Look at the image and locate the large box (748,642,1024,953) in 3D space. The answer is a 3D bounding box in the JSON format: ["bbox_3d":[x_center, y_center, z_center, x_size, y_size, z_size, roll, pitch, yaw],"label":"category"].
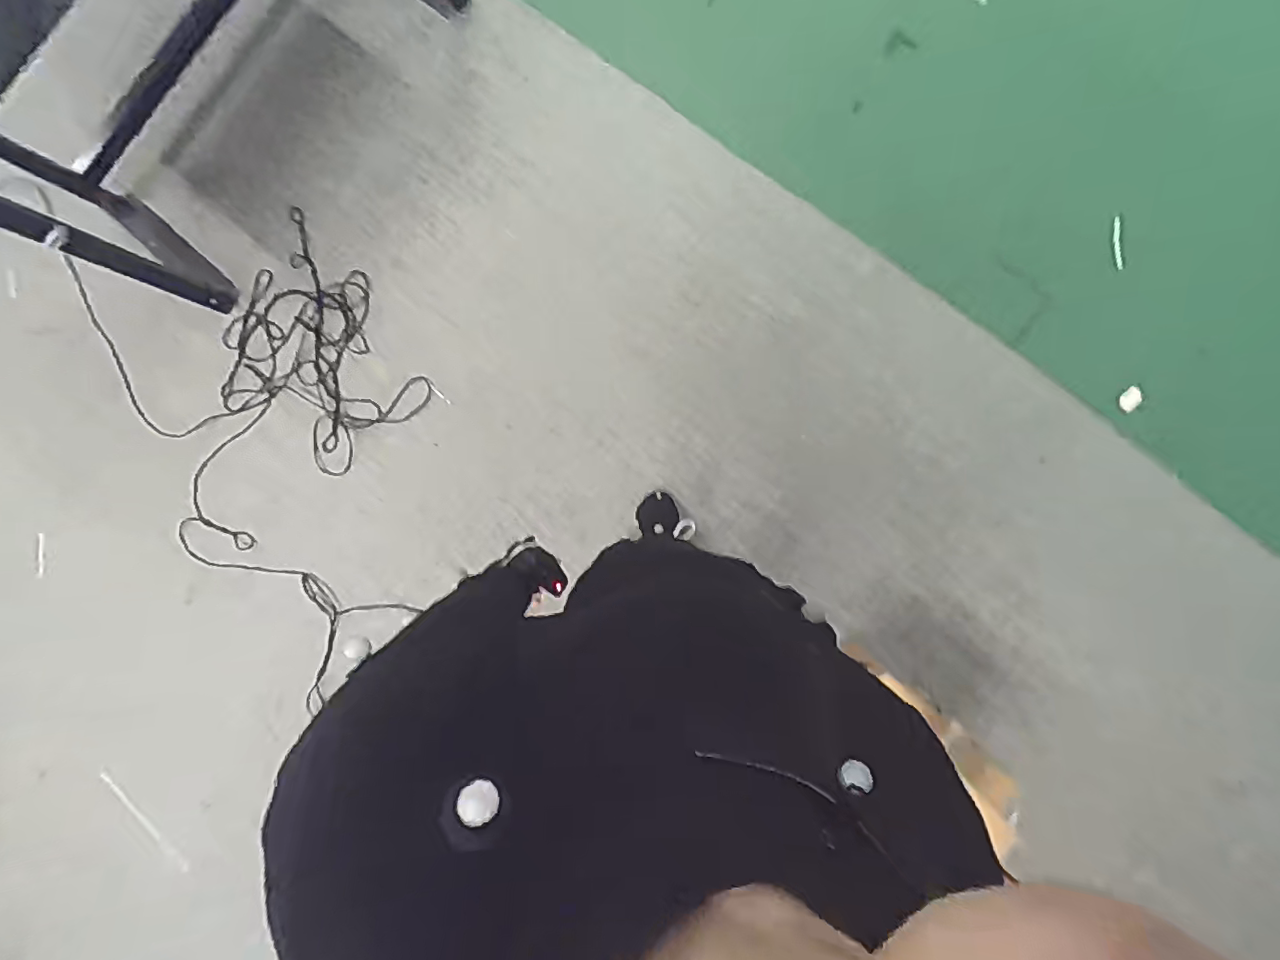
[{"bbox_3d":[0.477,0.626,1.146,0.320,0.320,0.408,40,94,10],"label":"large box"}]
